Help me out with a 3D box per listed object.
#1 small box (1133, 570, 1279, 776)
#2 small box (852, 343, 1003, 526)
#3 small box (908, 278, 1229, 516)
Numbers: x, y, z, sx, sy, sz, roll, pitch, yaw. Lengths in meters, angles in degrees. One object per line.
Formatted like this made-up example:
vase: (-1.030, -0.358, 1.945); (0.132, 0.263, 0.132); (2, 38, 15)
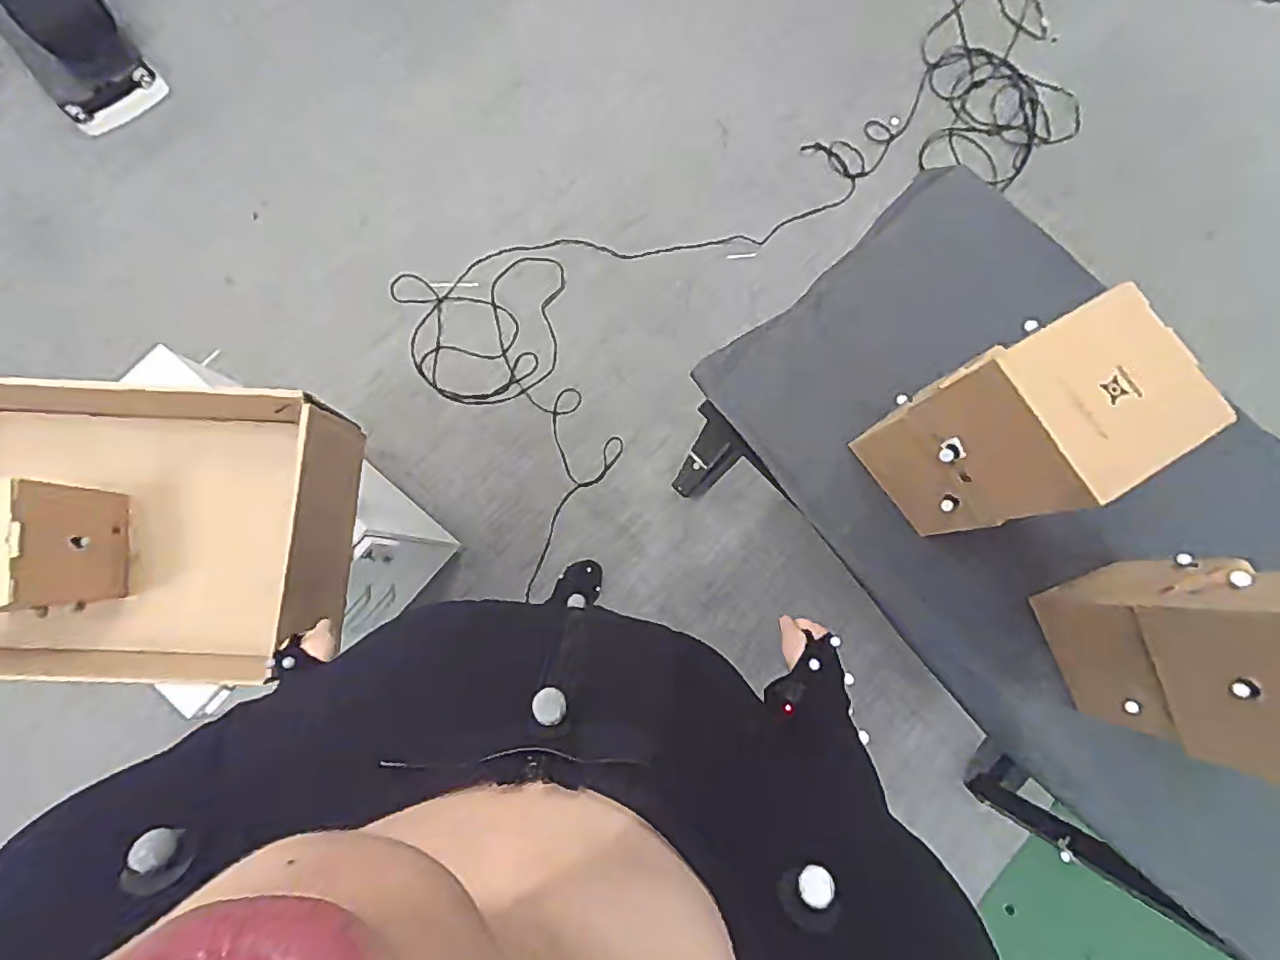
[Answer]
small box: (0.672, 0.191, 0.548); (0.168, 0.176, 0.179); (-12, 80, -5)
small box: (0.437, -0.049, 0.749); (0.168, 0.176, 0.179); (-35, 83, -9)
small box: (0.440, -0.077, 0.589); (0.179, 0.176, 0.168); (-30, 81, -6)
